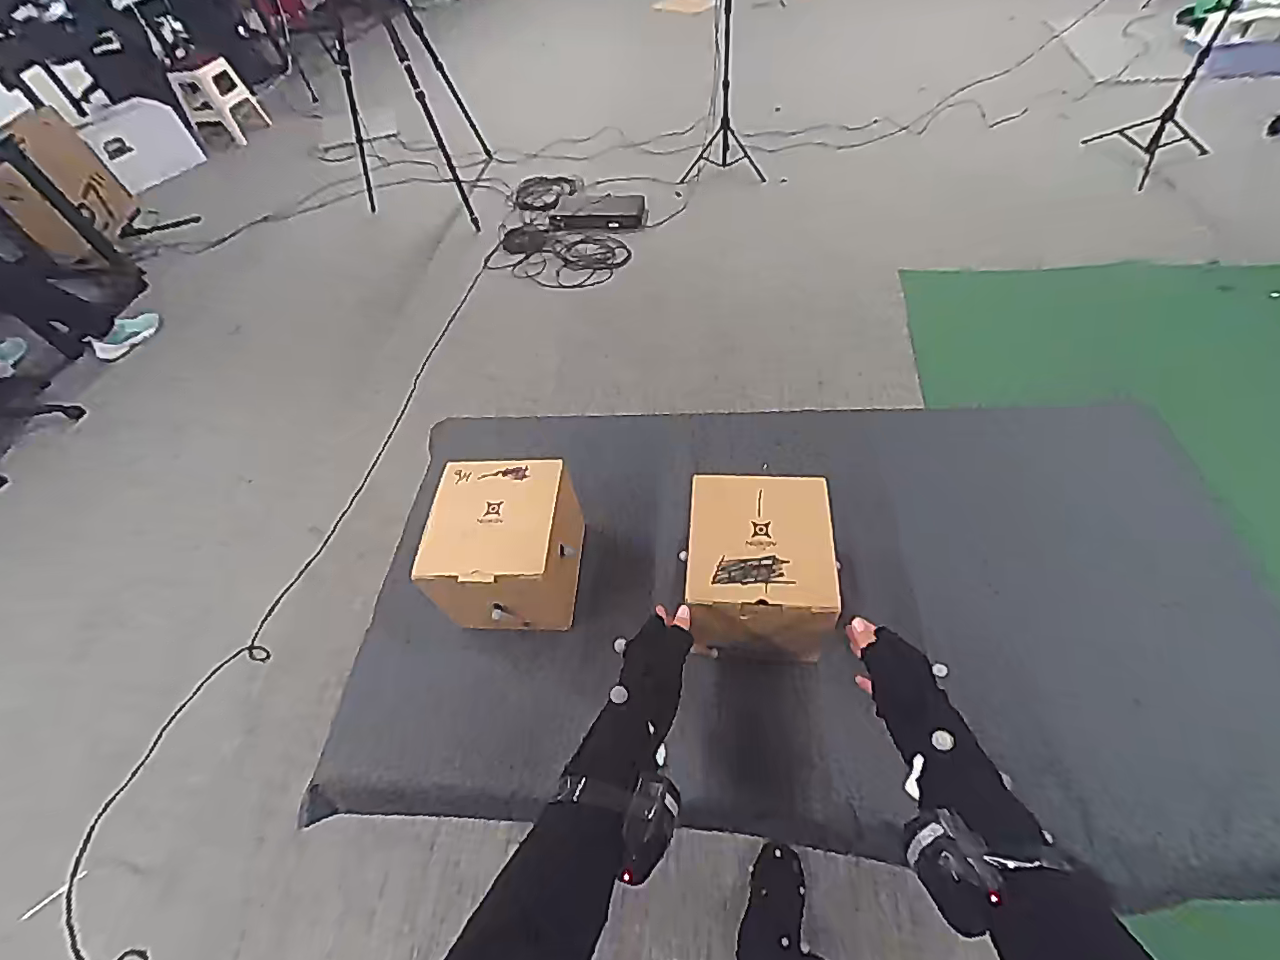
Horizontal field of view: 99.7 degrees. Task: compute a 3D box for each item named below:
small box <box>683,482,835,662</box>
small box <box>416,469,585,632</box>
[{"bbox_3d":[0.147,0.121,0.697,0.168,0.176,0.179,1,52,9],"label":"small box"},{"bbox_3d":[-0.178,0.104,0.757,0.168,0.176,0.179,-1,54,7],"label":"small box"}]
